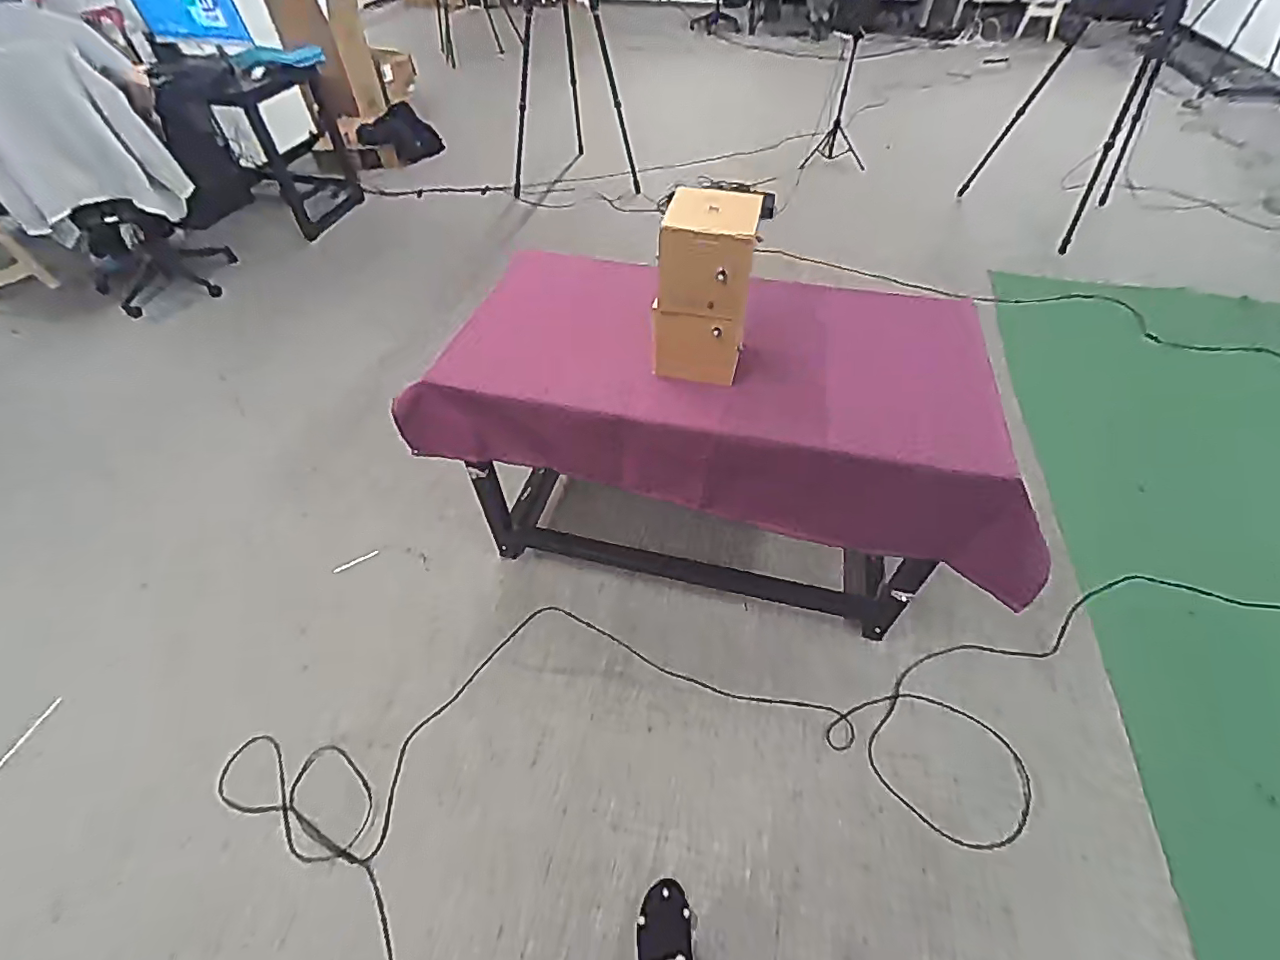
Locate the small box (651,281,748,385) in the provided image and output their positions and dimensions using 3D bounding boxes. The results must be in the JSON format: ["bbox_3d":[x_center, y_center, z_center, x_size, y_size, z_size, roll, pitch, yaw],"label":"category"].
[{"bbox_3d":[0.126,-0.327,1.170,0.179,0.176,0.168,11,50,10],"label":"small box"}]

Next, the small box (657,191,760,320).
[{"bbox_3d":[0.130,-0.432,1.046,0.168,0.176,0.179,11,49,9],"label":"small box"}]
